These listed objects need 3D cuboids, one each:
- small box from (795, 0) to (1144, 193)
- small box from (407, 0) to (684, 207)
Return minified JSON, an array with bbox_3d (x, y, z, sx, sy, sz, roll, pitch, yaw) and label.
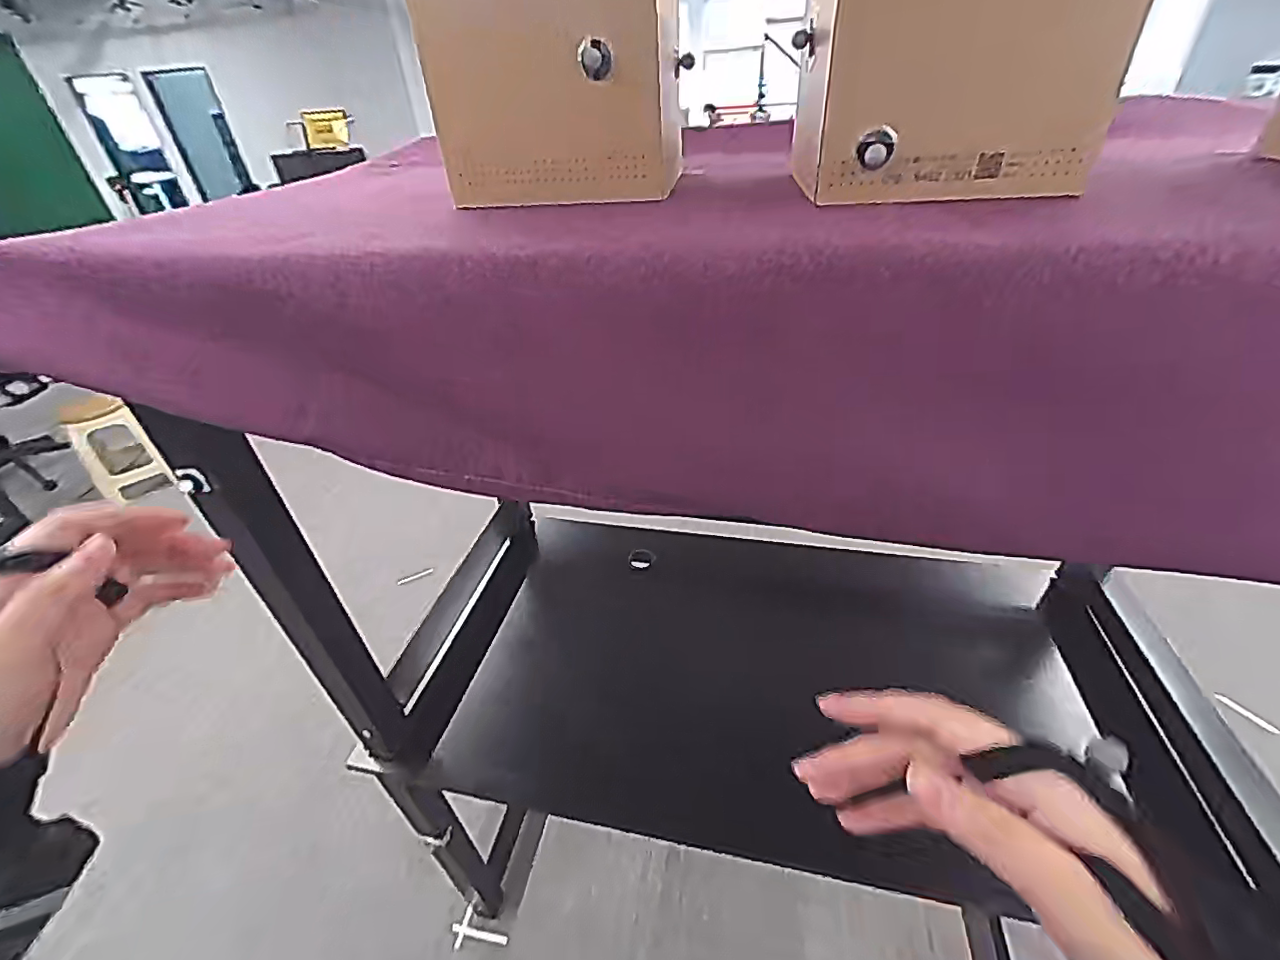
[{"bbox_3d":[0.204,-0.297,0.367,0.168,0.176,0.179,2,35,8],"label":"small box"},{"bbox_3d":[-0.058,-0.330,0.439,0.179,0.176,0.168,3,36,9],"label":"small box"}]
